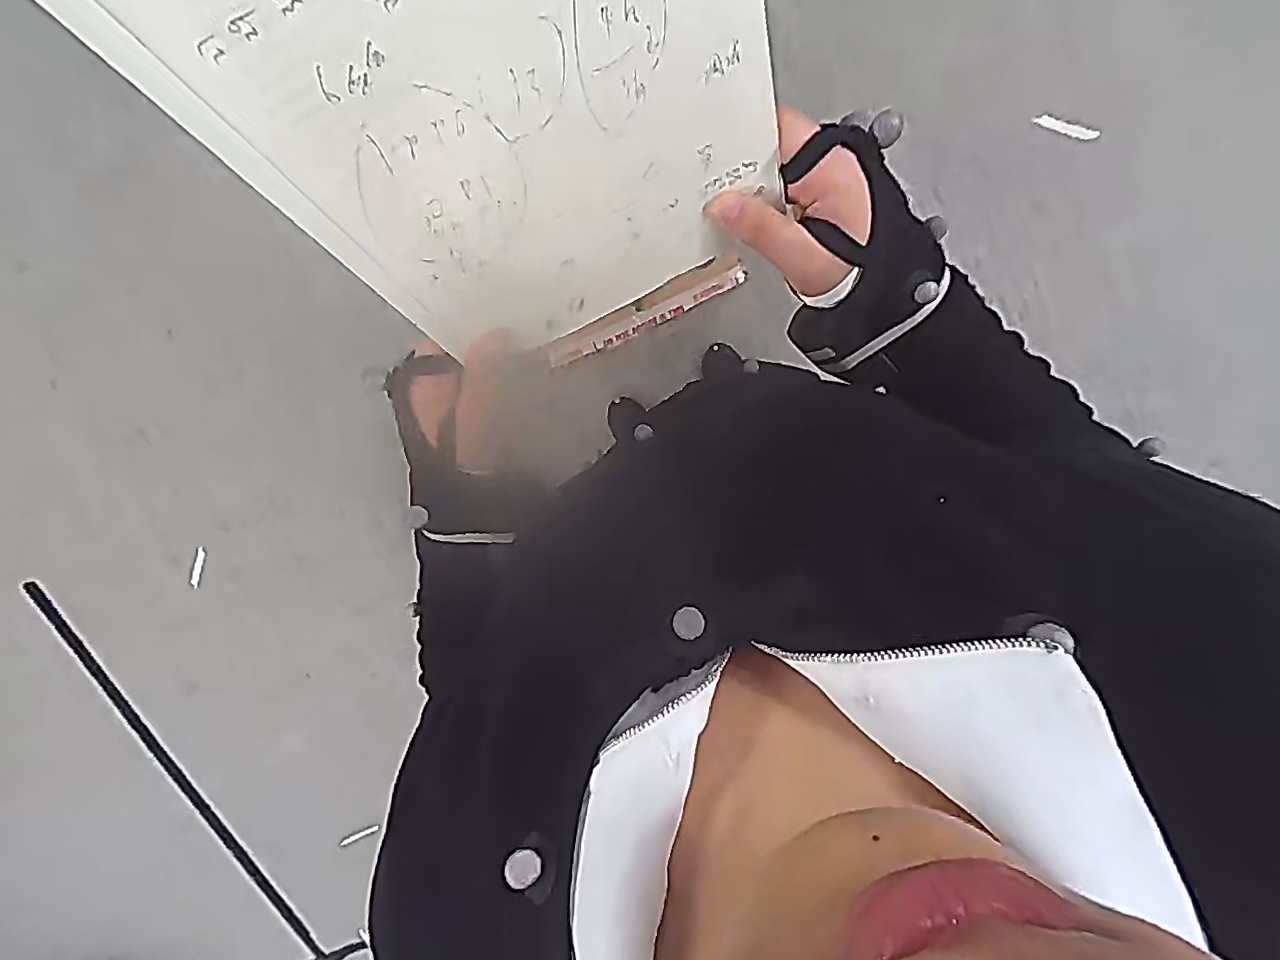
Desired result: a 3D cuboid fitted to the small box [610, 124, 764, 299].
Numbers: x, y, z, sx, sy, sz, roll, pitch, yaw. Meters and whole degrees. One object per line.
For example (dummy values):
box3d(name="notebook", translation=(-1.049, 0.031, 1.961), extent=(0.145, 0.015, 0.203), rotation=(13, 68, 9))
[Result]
box3d(name="small box", translation=(0.068, -0.409, 0.856), extent=(0.179, 0.176, 0.168), rotation=(-29, 100, 7))

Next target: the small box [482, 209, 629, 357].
box3d(name="small box", translation=(-0.124, -0.312, 0.884), extent=(0.179, 0.176, 0.168), rotation=(-20, 102, 8))
